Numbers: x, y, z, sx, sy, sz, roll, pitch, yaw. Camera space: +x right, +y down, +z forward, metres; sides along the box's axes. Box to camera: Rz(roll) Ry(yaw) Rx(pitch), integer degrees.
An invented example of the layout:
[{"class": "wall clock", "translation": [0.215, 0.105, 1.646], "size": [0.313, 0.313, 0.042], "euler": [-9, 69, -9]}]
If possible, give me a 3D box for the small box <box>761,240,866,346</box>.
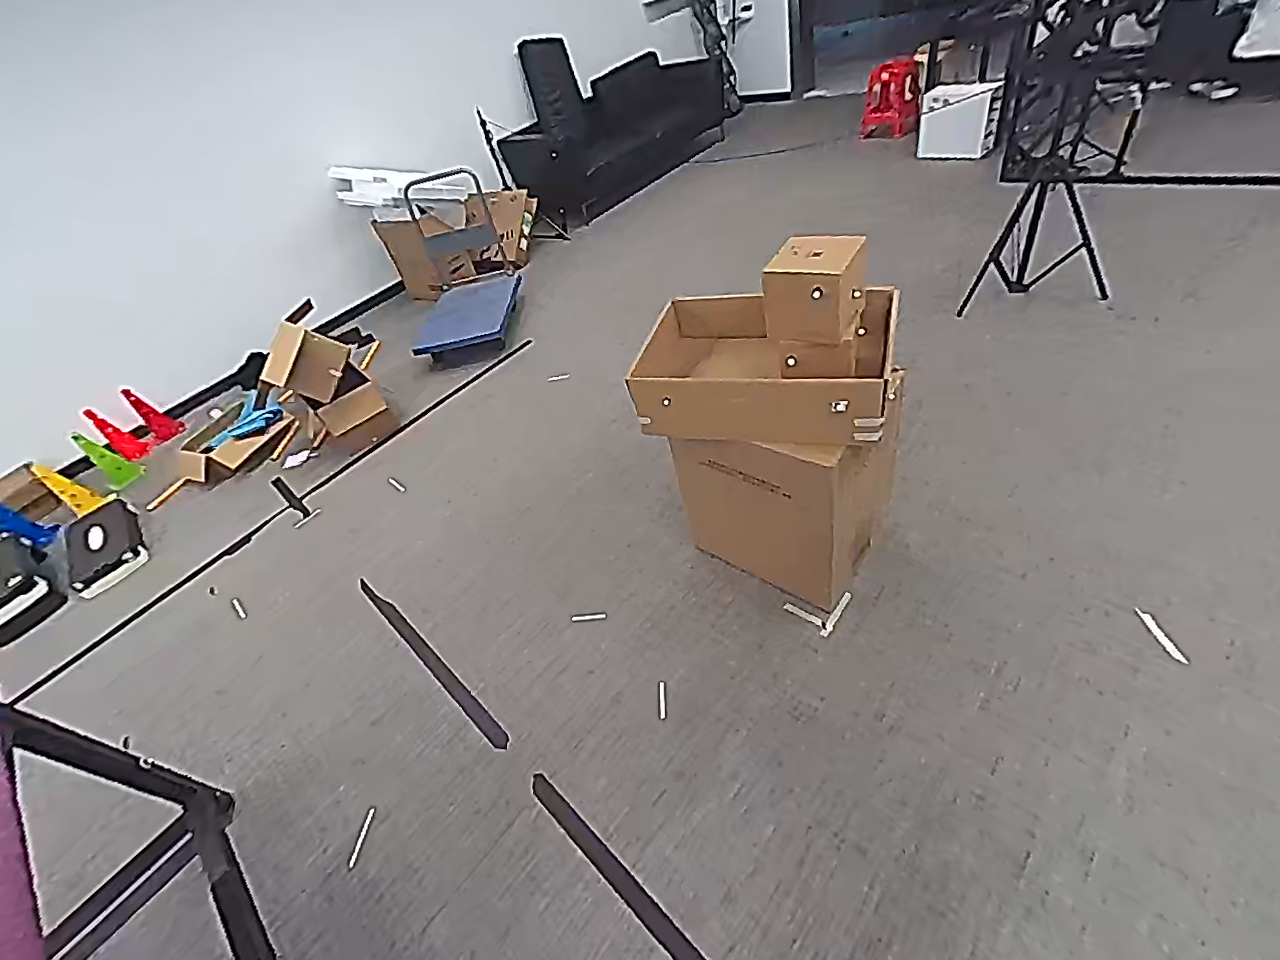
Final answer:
[{"class": "small box", "translation": [0.397, -0.423, 1.225], "size": [0.179, 0.176, 0.168], "euler": [16, 53, 34]}]
